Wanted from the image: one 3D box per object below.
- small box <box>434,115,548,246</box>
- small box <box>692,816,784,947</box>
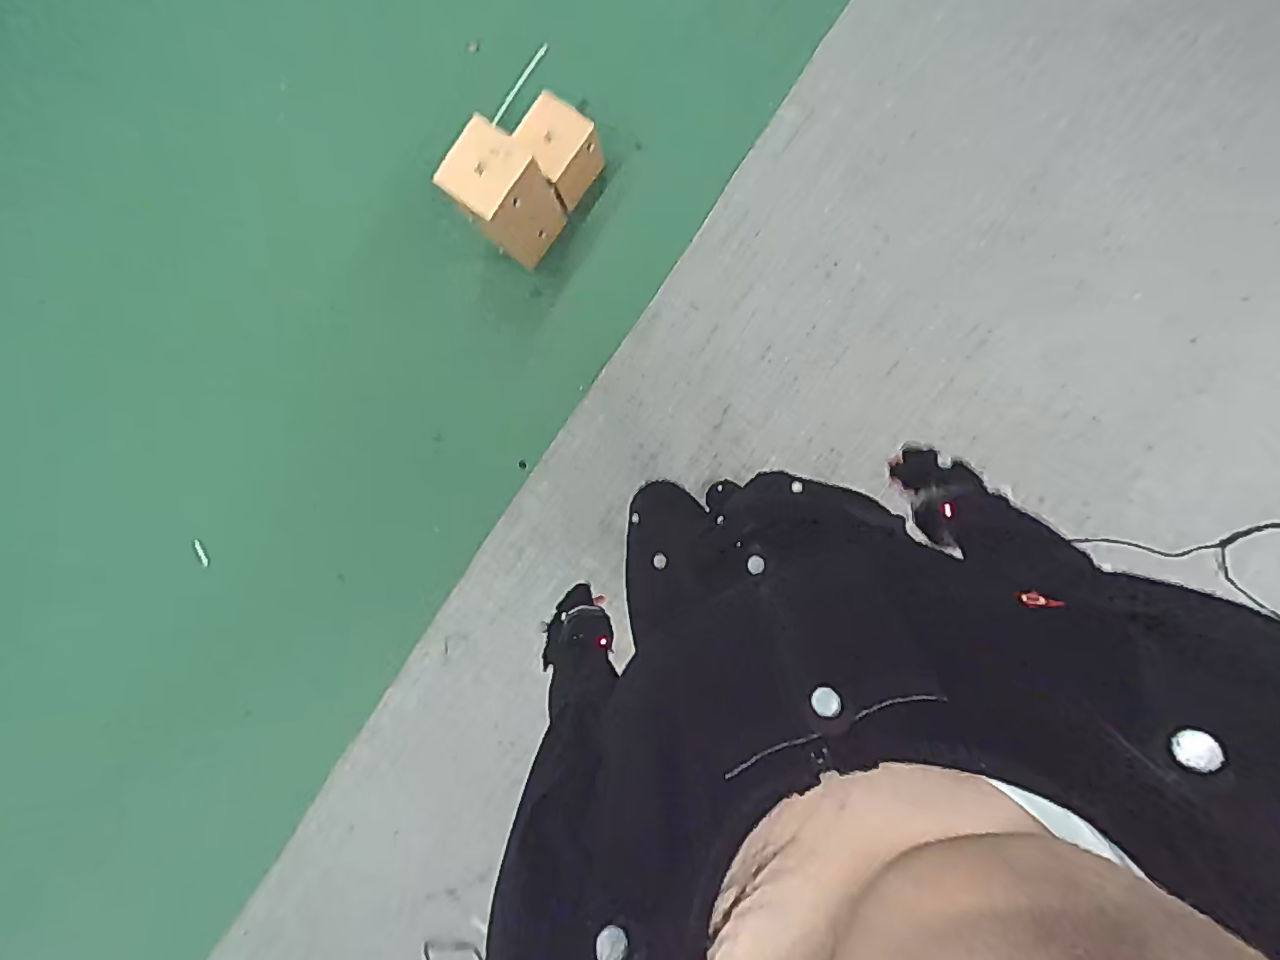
[{"bbox_3d":[-0.340,-0.692,1.273,0.168,0.176,0.179,37,93,3],"label":"small box"},{"bbox_3d":[0.240,1.015,1.387,0.168,0.176,0.179,30,92,3],"label":"small box"}]
